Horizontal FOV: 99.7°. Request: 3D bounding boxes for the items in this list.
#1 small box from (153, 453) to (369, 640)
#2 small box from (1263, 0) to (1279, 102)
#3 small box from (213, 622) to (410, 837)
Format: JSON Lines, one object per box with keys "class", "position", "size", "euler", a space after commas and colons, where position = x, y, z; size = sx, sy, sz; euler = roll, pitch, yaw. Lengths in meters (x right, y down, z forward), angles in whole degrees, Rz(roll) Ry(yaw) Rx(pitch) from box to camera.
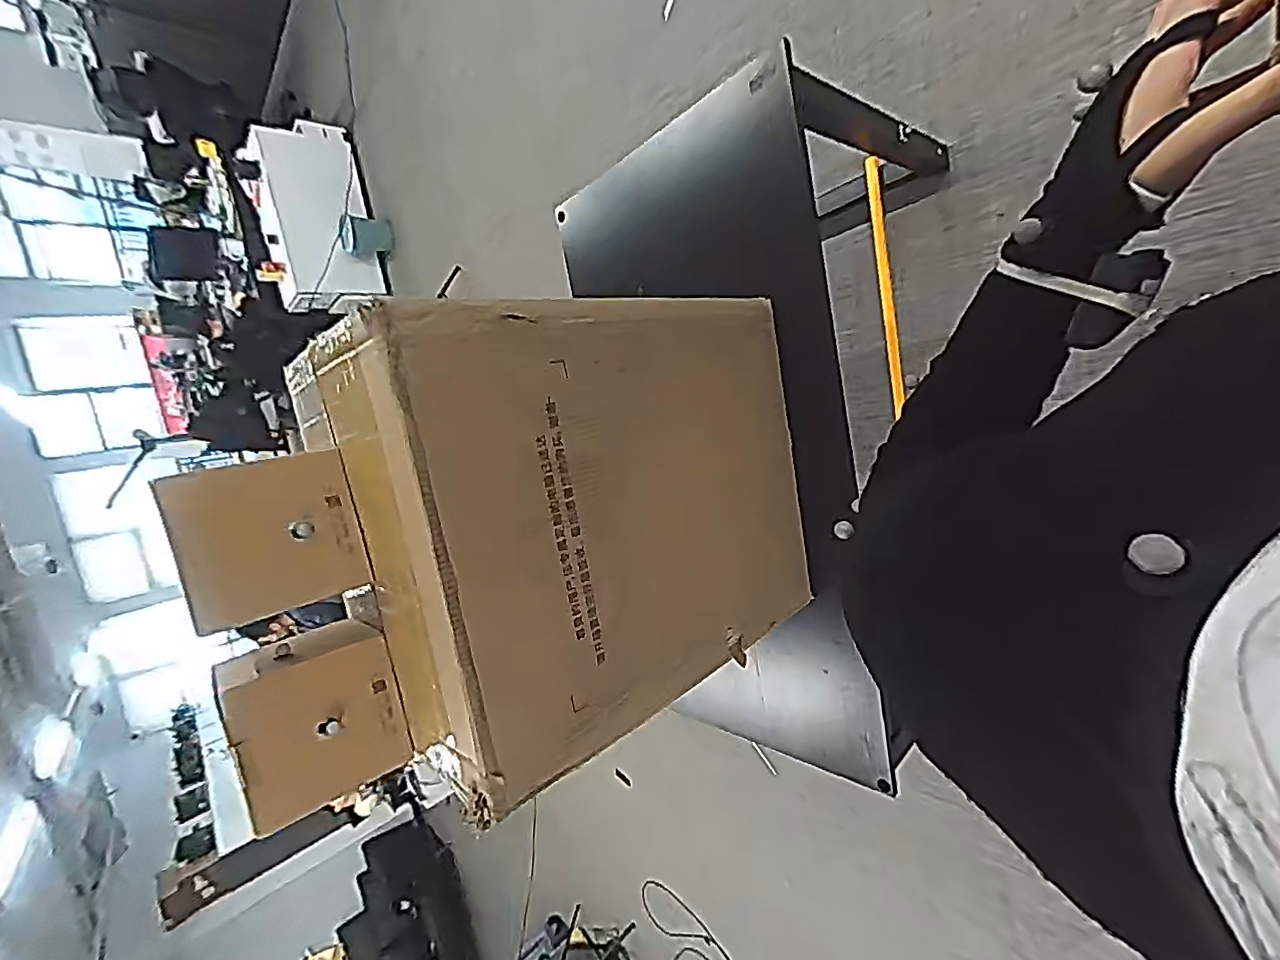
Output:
{"class": "small box", "position": [-0.444, 0.069, 0.646], "size": [0.179, 0.176, 0.168], "euler": [-6, 99, 51]}
{"class": "small box", "position": [0.408, -0.288, 0.232], "size": [0.179, 0.176, 0.168], "euler": [3, 115, 49]}
{"class": "small box", "position": [-0.406, 0.290, 0.679], "size": [0.179, 0.176, 0.168], "euler": [-9, 95, 50]}
